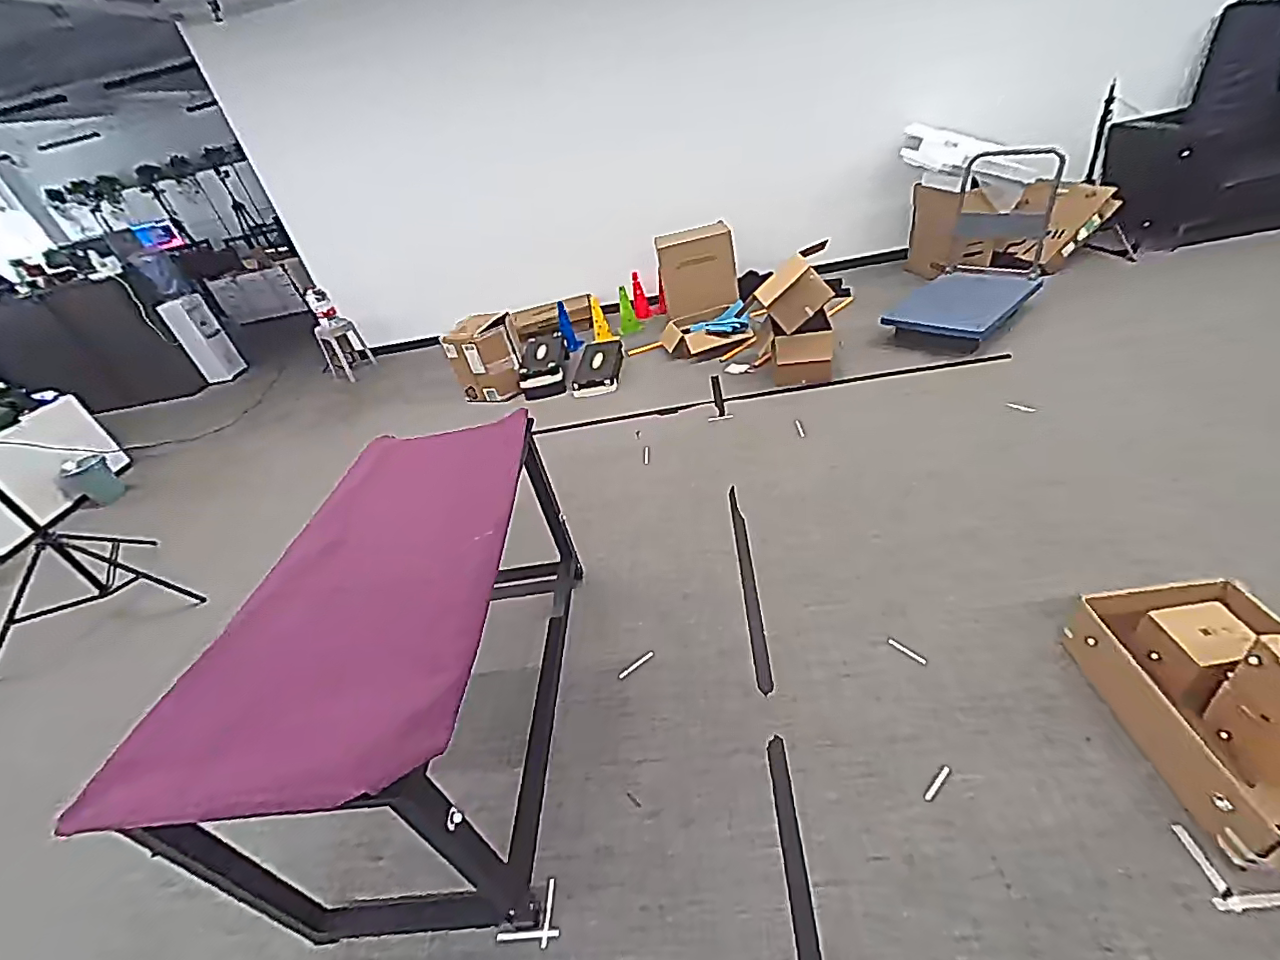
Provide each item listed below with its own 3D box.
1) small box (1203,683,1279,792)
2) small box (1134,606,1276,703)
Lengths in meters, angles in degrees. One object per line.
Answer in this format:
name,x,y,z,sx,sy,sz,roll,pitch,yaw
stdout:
small box,1.444,0.578,1.211,0.179,0.176,0.168,-7,34,11
small box,1.425,0.450,1.385,0.179,0.176,0.168,-10,37,6
